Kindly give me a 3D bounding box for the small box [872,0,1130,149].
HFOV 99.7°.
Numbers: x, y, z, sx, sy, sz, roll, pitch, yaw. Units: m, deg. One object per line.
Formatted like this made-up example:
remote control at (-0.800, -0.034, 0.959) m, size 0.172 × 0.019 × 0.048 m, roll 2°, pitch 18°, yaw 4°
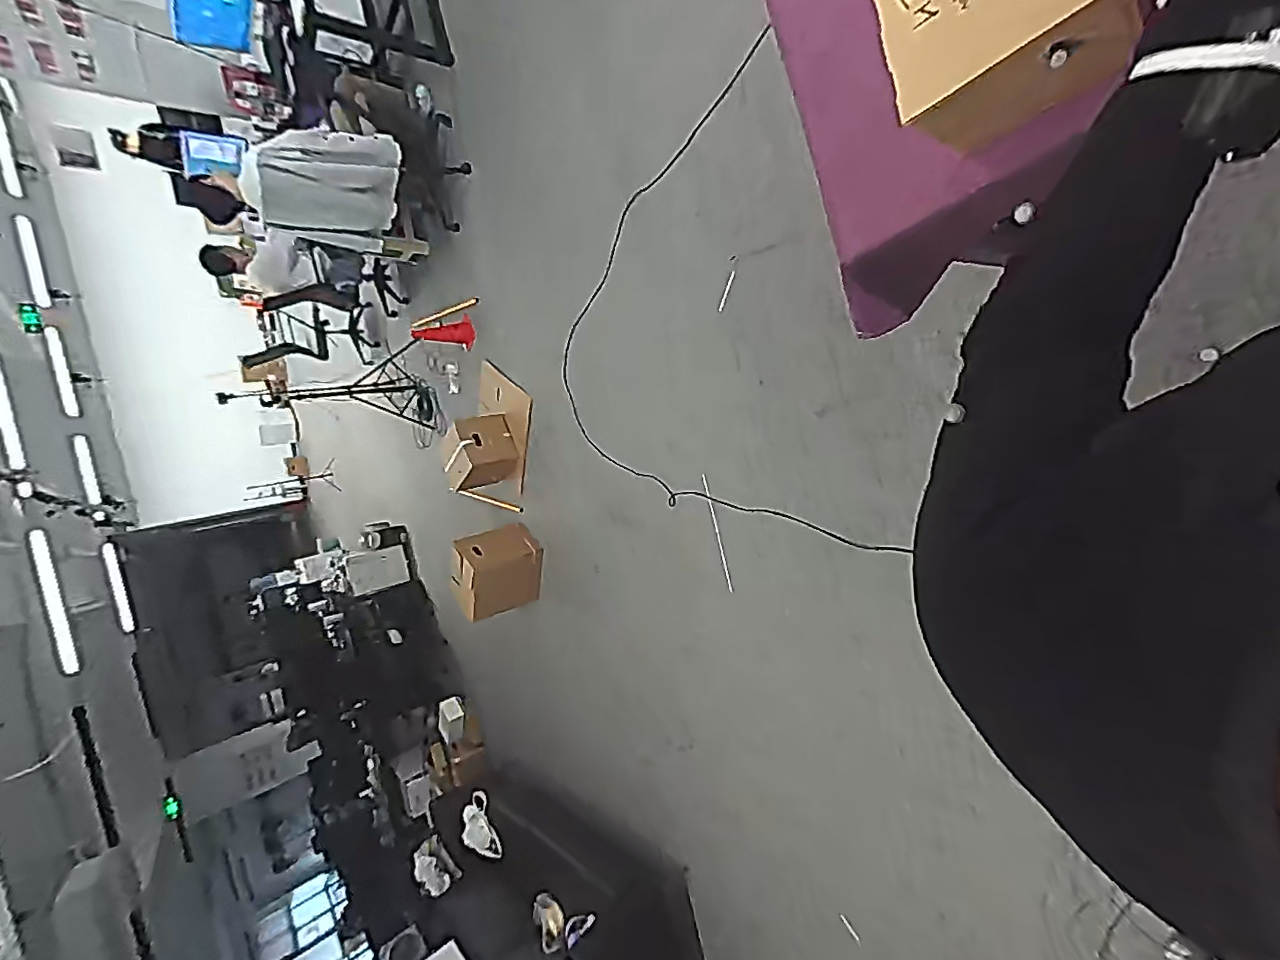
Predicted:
small box at (0.375, -0.484, 0.562) m, size 0.179 × 0.176 × 0.168 m, roll -12°, pitch 91°, yaw 52°
